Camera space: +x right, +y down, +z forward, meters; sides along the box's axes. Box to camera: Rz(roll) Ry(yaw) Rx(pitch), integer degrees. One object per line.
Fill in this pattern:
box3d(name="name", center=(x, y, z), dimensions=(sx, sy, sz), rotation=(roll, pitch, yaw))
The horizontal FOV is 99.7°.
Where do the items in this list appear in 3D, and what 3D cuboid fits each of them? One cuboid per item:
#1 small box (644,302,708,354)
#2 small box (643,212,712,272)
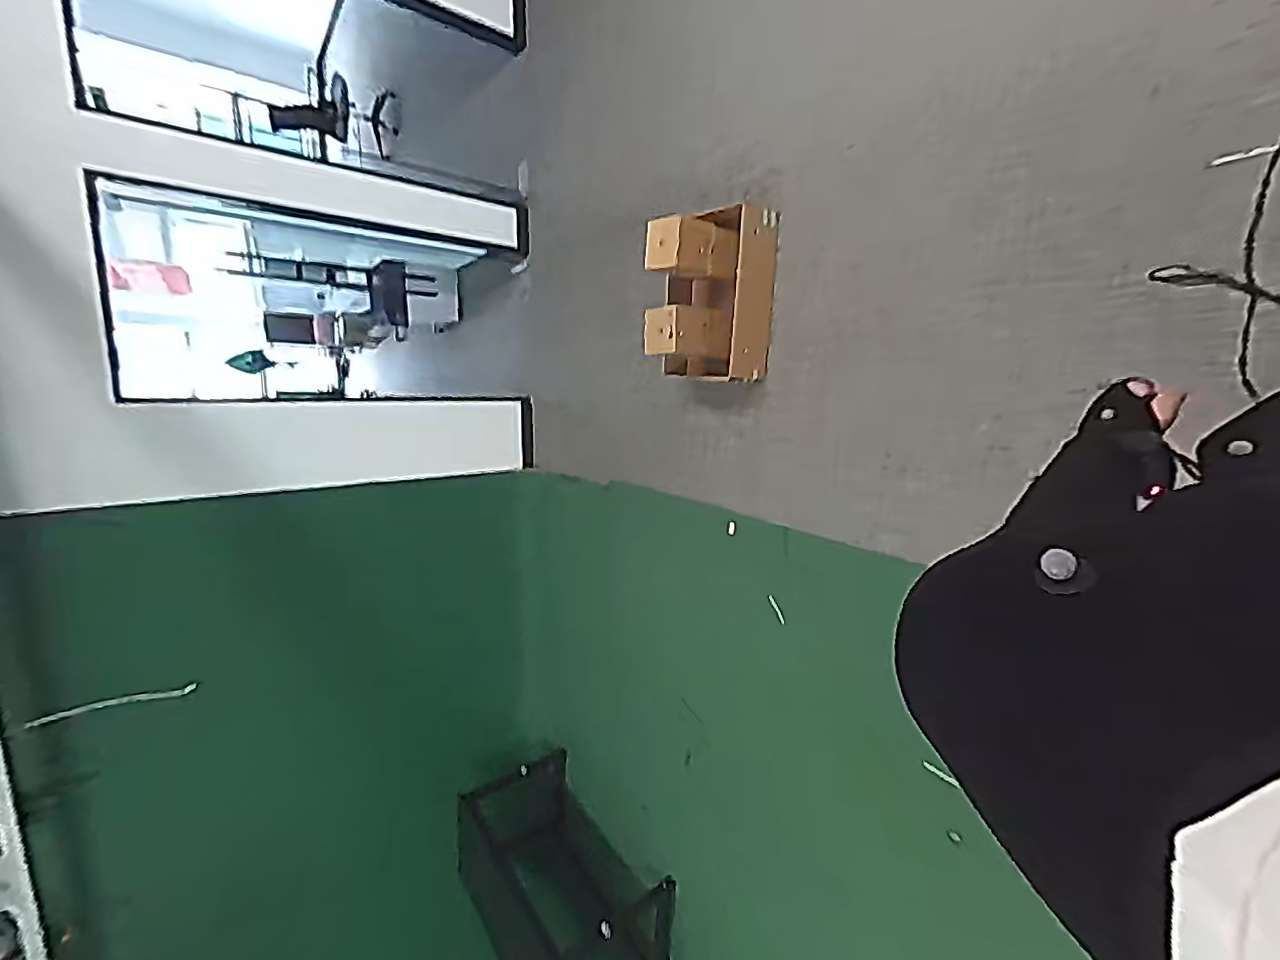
box3d(name="small box", center=(0.131, -0.560, 2.008), dimensions=(0.179, 0.176, 0.168), rotation=(12, 106, 51))
box3d(name="small box", center=(0.134, -0.856, 1.959), dimensions=(0.179, 0.176, 0.168), rotation=(21, 111, 48))
